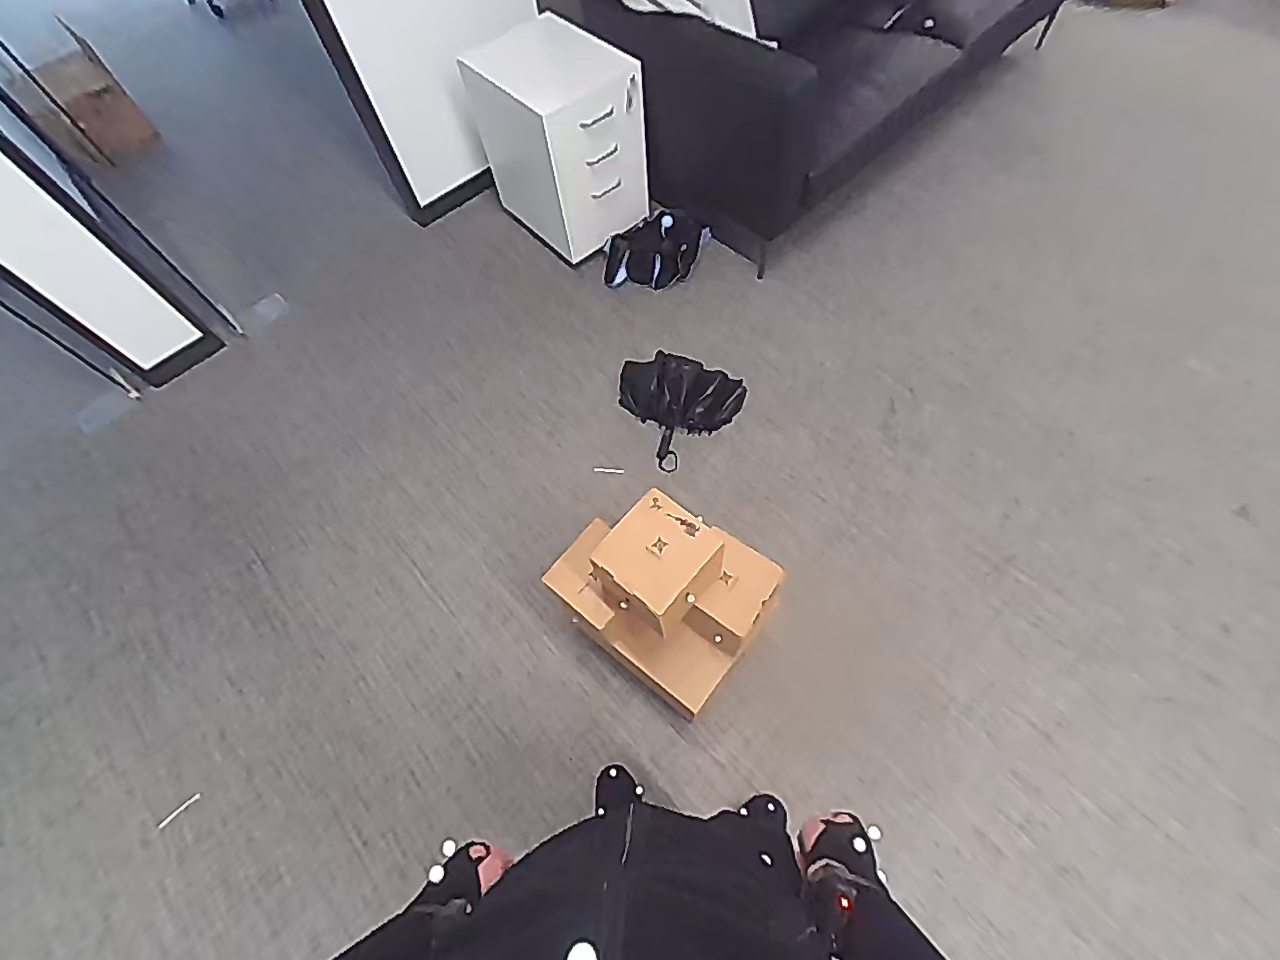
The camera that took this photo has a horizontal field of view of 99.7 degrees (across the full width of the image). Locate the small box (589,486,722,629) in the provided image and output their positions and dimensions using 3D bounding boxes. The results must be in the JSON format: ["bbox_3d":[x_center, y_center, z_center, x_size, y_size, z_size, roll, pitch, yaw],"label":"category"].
[{"bbox_3d":[0.036,0.150,0.999,0.168,0.176,0.179,37,73,22],"label":"small box"}]

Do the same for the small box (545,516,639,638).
[{"bbox_3d":[-0.073,0.213,1.162,0.168,0.176,0.179,36,73,21],"label":"small box"}]

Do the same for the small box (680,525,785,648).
[{"bbox_3d":[0.175,0.231,1.133,0.179,0.176,0.168,31,66,20],"label":"small box"}]
